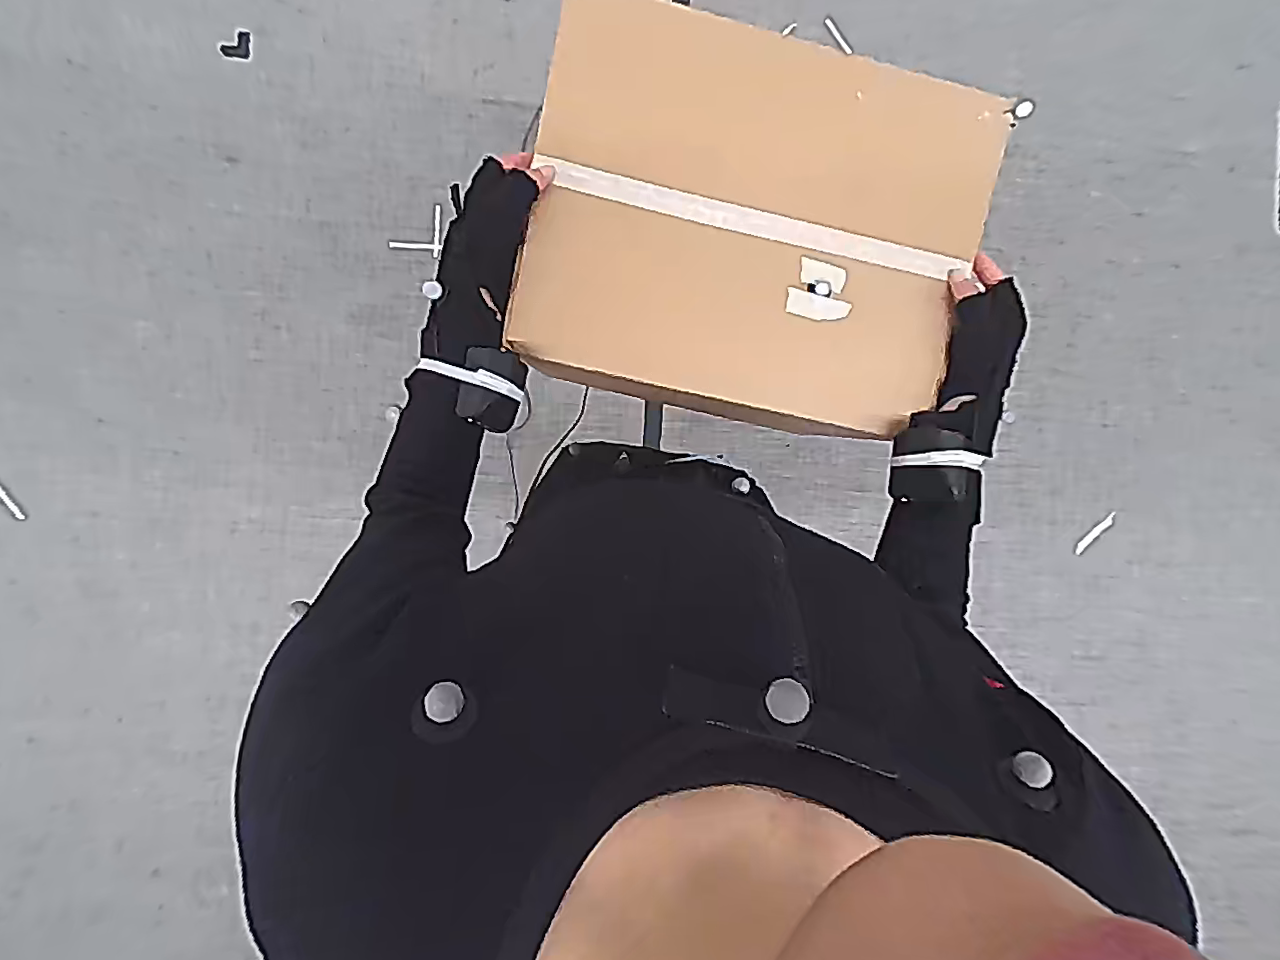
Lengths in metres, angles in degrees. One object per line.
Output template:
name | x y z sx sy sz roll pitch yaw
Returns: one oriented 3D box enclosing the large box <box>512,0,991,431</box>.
large box | 0.091 -0.248 0.641 0.408 0.320 0.320 11 97 -6
